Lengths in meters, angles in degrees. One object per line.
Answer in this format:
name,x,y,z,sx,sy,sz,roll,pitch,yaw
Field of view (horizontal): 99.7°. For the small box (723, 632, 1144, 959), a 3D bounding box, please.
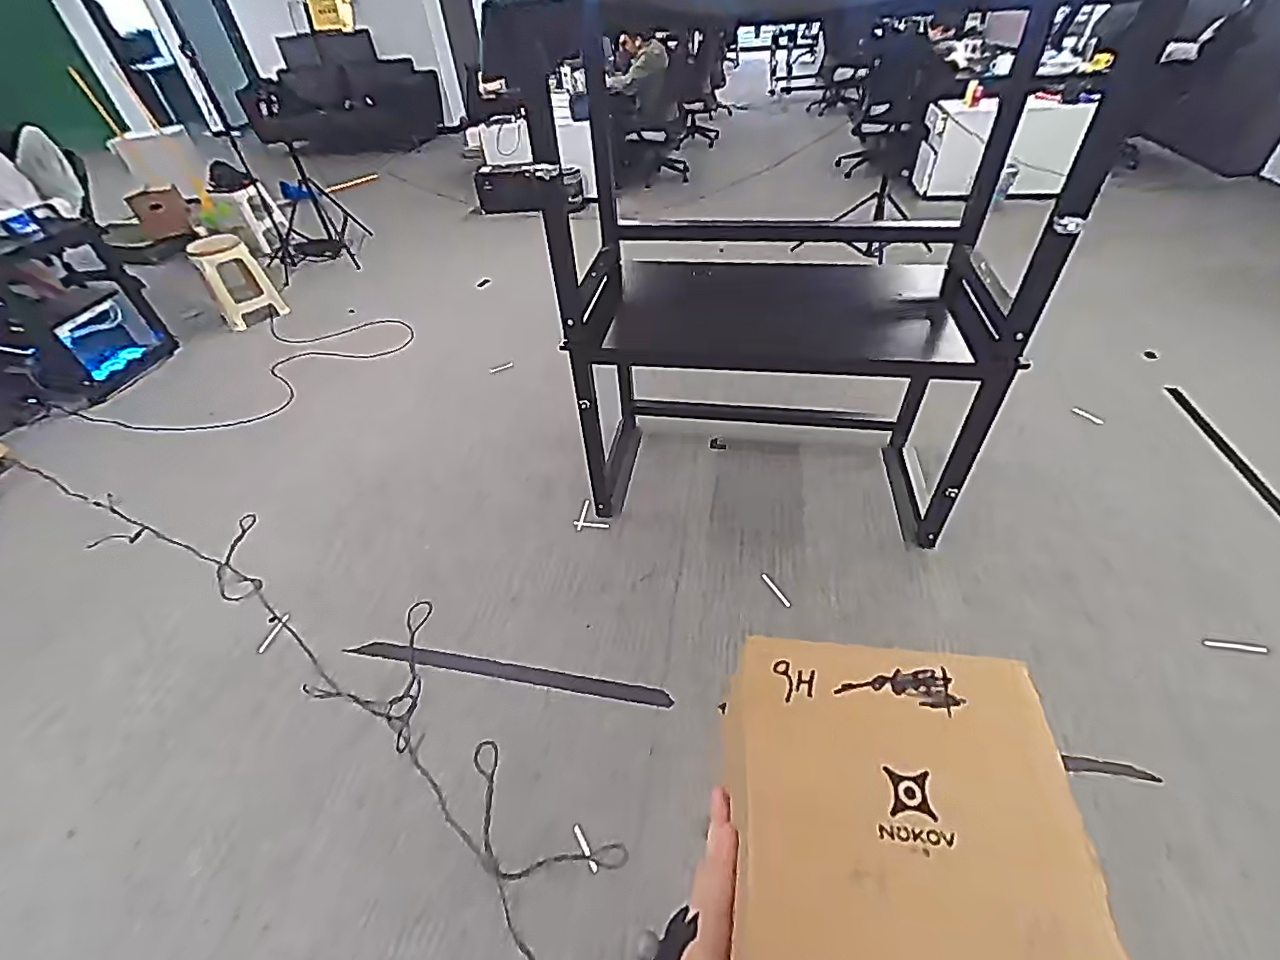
small box,0.142,0.215,0.329,0.168,0.176,0.179,5,51,5
